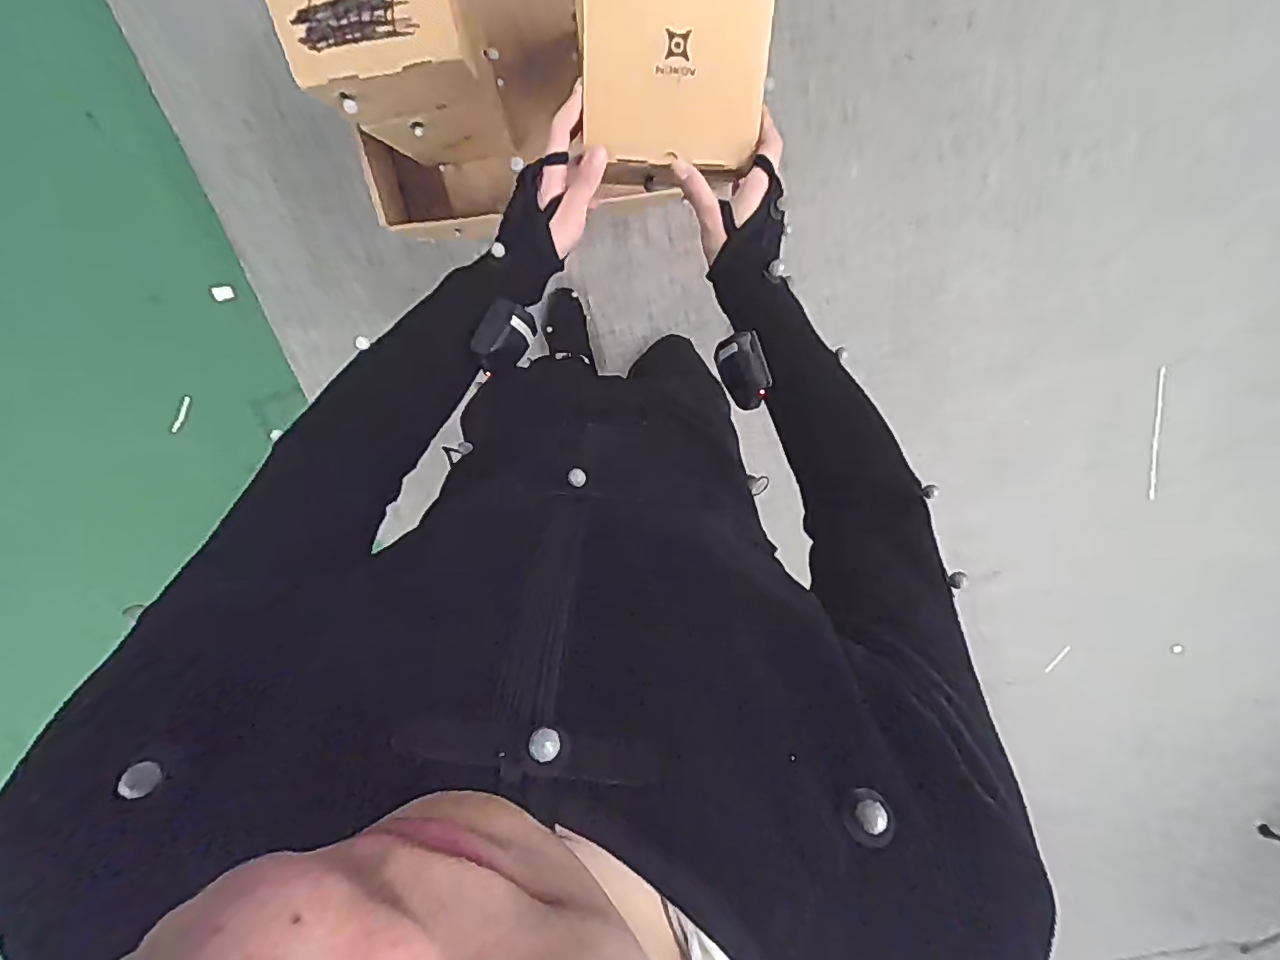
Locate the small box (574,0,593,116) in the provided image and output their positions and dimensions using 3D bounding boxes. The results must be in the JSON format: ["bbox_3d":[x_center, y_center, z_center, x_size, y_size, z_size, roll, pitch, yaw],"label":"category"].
[{"bbox_3d":[-0.001,-0.602,0.724,0.168,0.176,0.179,-6,112,-3],"label":"small box"}]

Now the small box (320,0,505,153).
[{"bbox_3d":[-0.289,-0.558,0.711,0.168,0.176,0.179,-11,112,0],"label":"small box"}]

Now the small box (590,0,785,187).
[{"bbox_3d":[0.034,-0.404,0.540,0.168,0.176,0.179,1,114,-4],"label":"small box"}]
